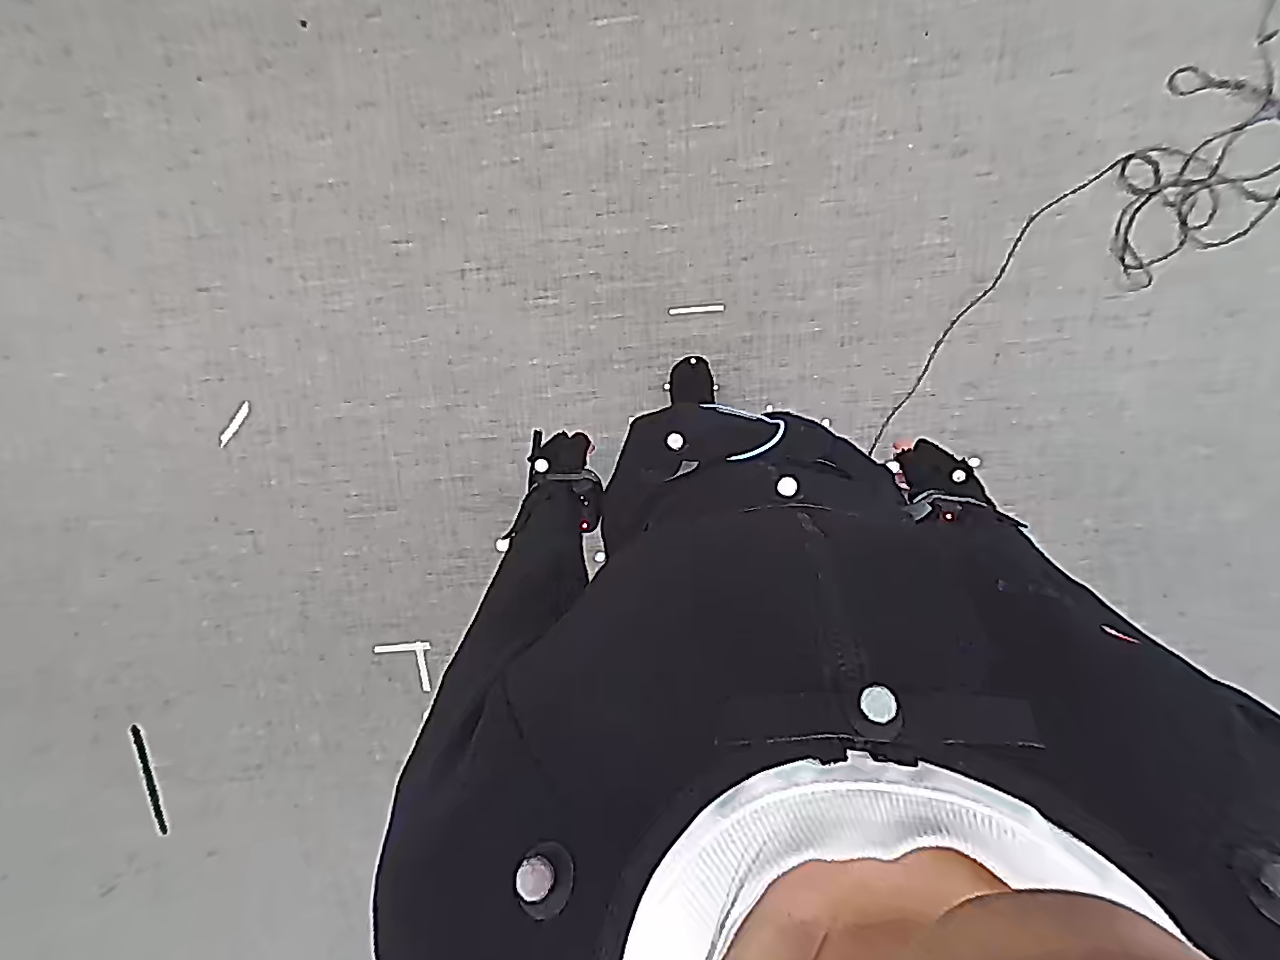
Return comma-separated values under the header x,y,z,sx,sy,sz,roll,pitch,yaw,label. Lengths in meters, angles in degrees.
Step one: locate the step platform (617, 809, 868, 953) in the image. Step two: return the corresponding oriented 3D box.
x,y,z,sx,sy,sz,roll,pitch,yaw,label
0.278,1.136,1.534,0.684,0.204,0.286,-5,99,6,step platform
